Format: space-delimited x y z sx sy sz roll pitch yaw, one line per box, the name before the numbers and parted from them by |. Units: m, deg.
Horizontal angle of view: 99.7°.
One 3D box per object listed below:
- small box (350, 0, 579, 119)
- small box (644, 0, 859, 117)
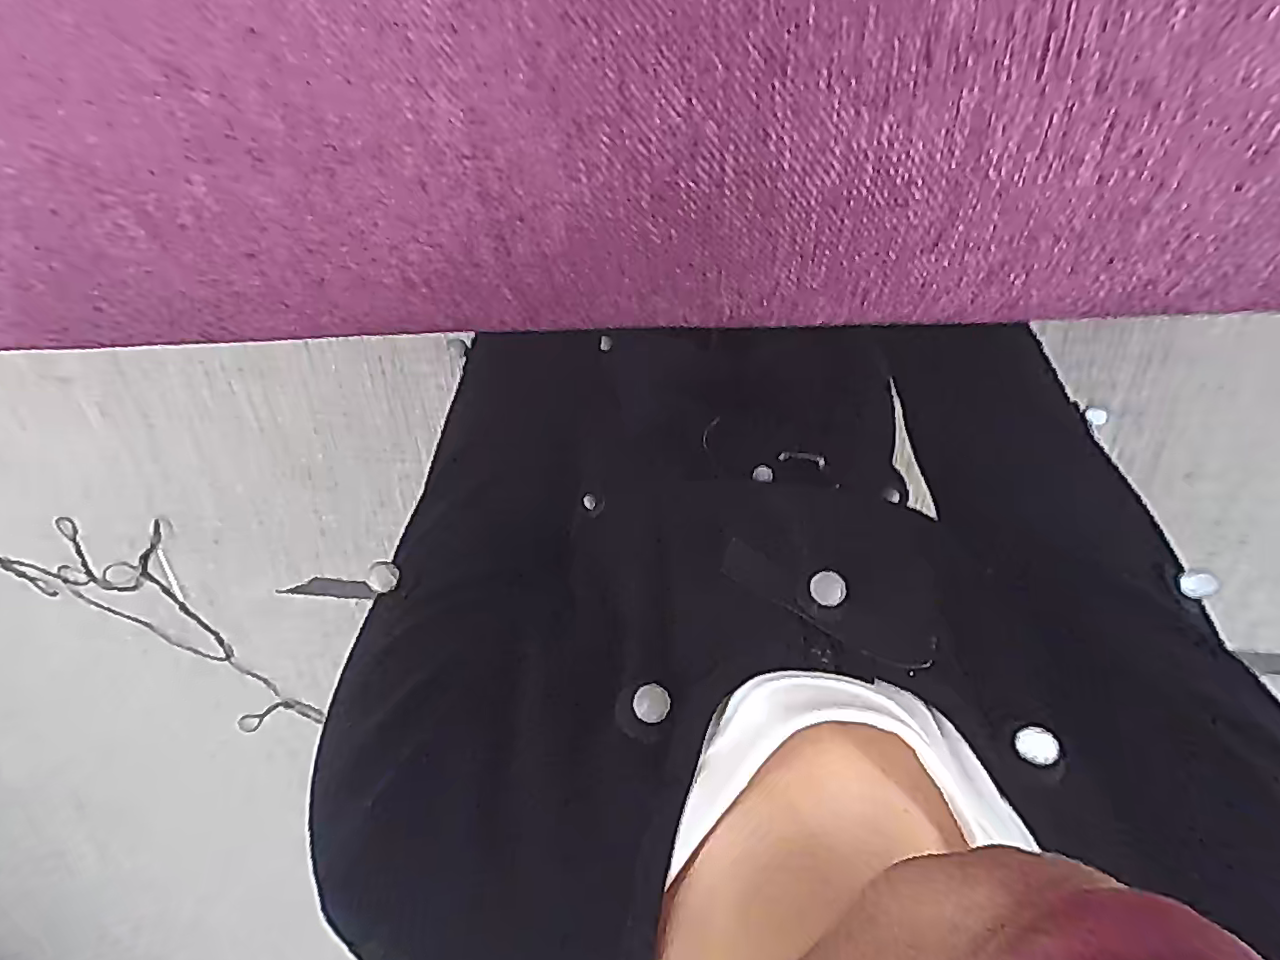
small box | -0.163 -0.471 0.535 0.179 0.176 0.168 1 117 9
small box | 0.099 -0.447 0.501 0.179 0.176 0.168 2 117 6
